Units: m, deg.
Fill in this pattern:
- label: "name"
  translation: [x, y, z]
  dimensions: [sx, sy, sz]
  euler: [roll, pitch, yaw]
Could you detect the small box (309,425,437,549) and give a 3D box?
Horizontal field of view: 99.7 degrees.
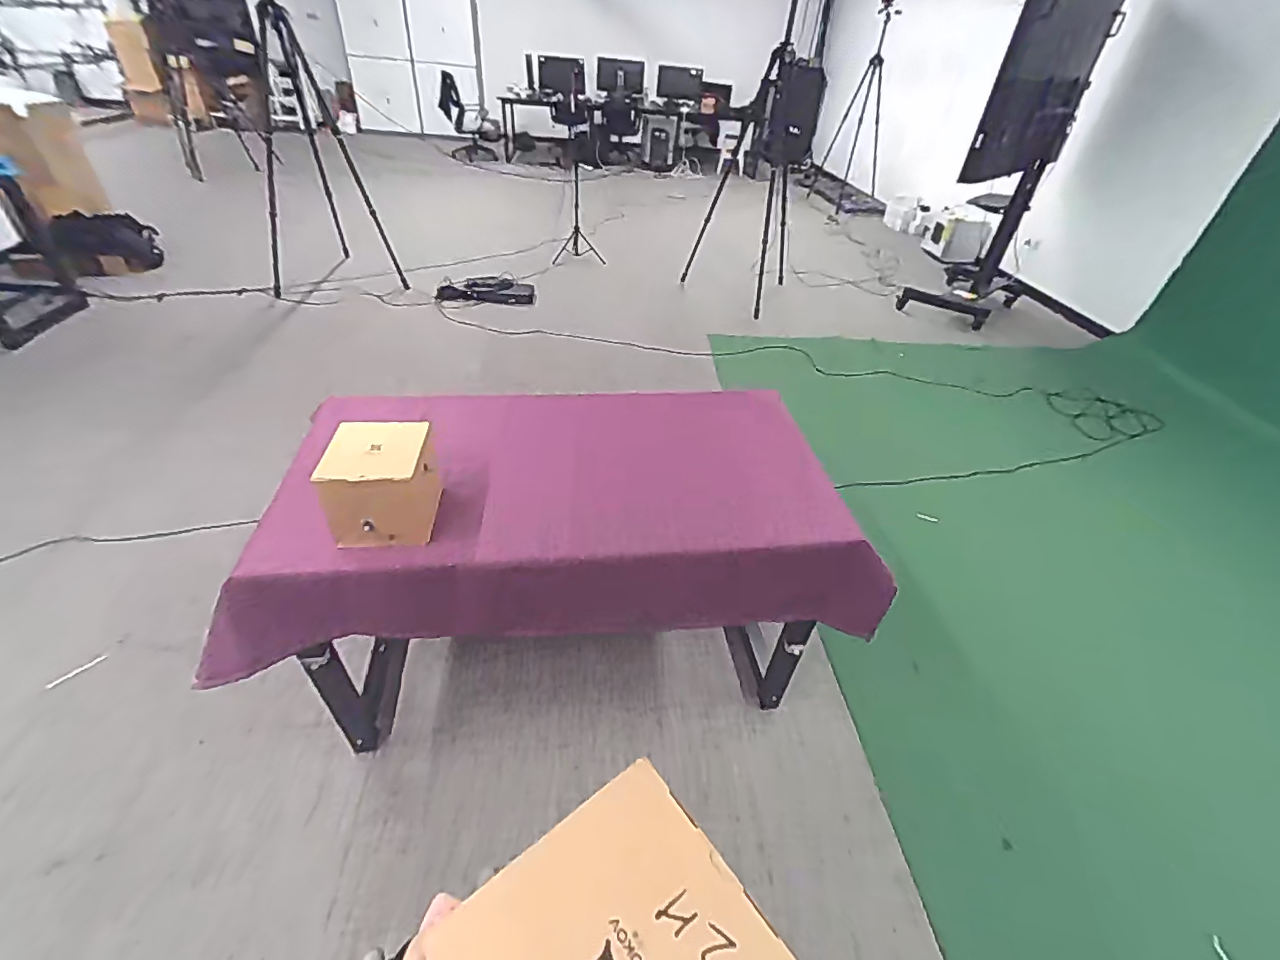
- label: "small box"
  translation: [-0.493, 0.012, 1.032]
  dimensions: [0.168, 0.176, 0.179]
  euler: [-1, 40, -8]
